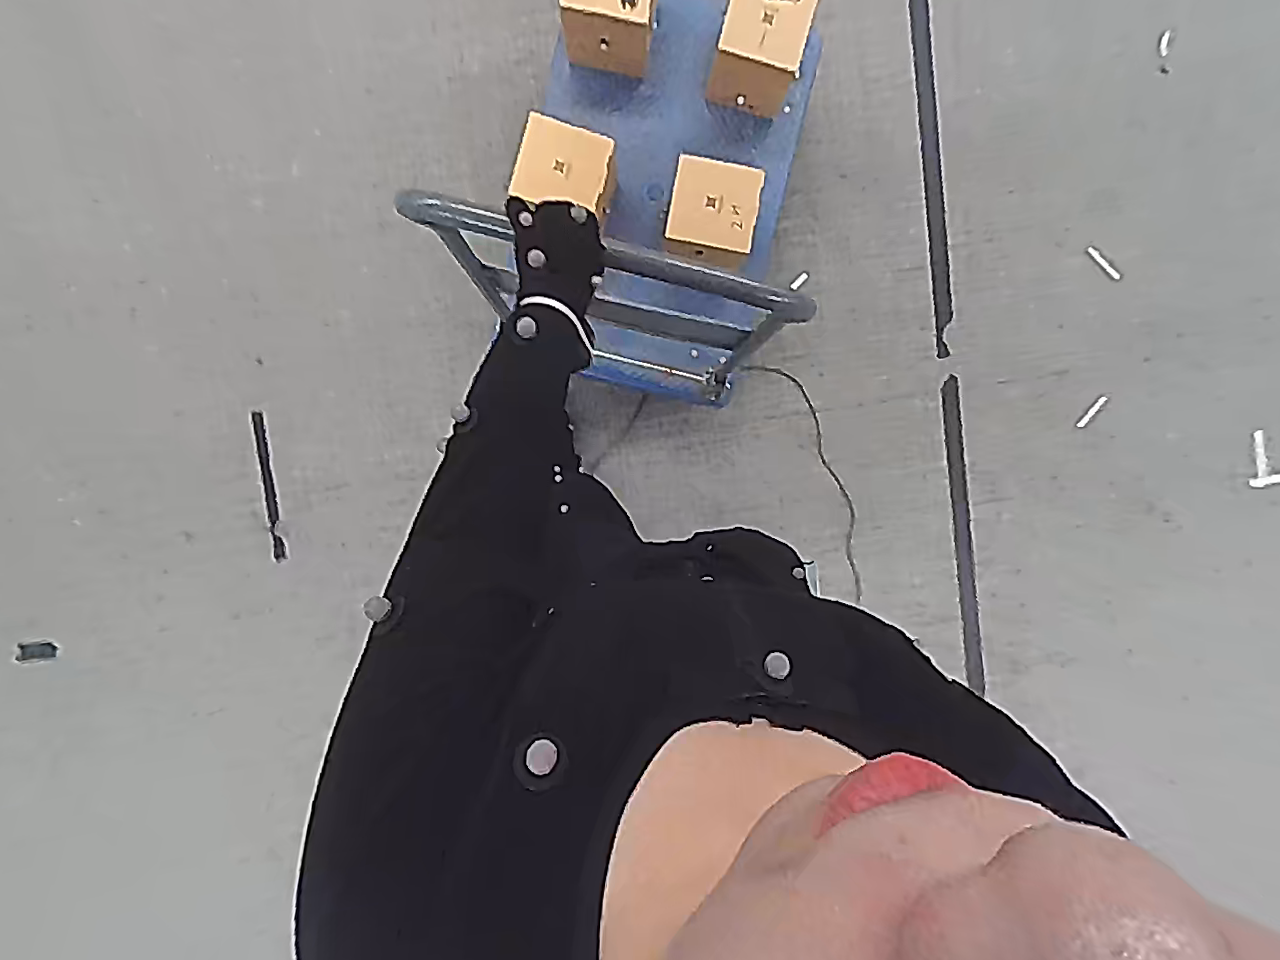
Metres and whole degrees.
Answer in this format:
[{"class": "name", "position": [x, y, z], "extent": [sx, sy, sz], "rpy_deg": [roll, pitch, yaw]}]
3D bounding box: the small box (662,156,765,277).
[{"class": "small box", "position": [0.147, -0.550, 1.153], "extent": [0.179, 0.176, 0.168], "rpy_deg": [11, 94, -2]}]

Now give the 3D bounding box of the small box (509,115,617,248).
[{"class": "small box", "position": [-0.155, -0.617, 1.142], "extent": [0.179, 0.176, 0.168], "rpy_deg": [17, 94, -4]}]

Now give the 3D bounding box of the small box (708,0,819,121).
[{"class": "small box", "position": [0.250, -0.904, 1.128], "extent": [0.168, 0.176, 0.179], "rpy_deg": [15, 95, -3]}]
